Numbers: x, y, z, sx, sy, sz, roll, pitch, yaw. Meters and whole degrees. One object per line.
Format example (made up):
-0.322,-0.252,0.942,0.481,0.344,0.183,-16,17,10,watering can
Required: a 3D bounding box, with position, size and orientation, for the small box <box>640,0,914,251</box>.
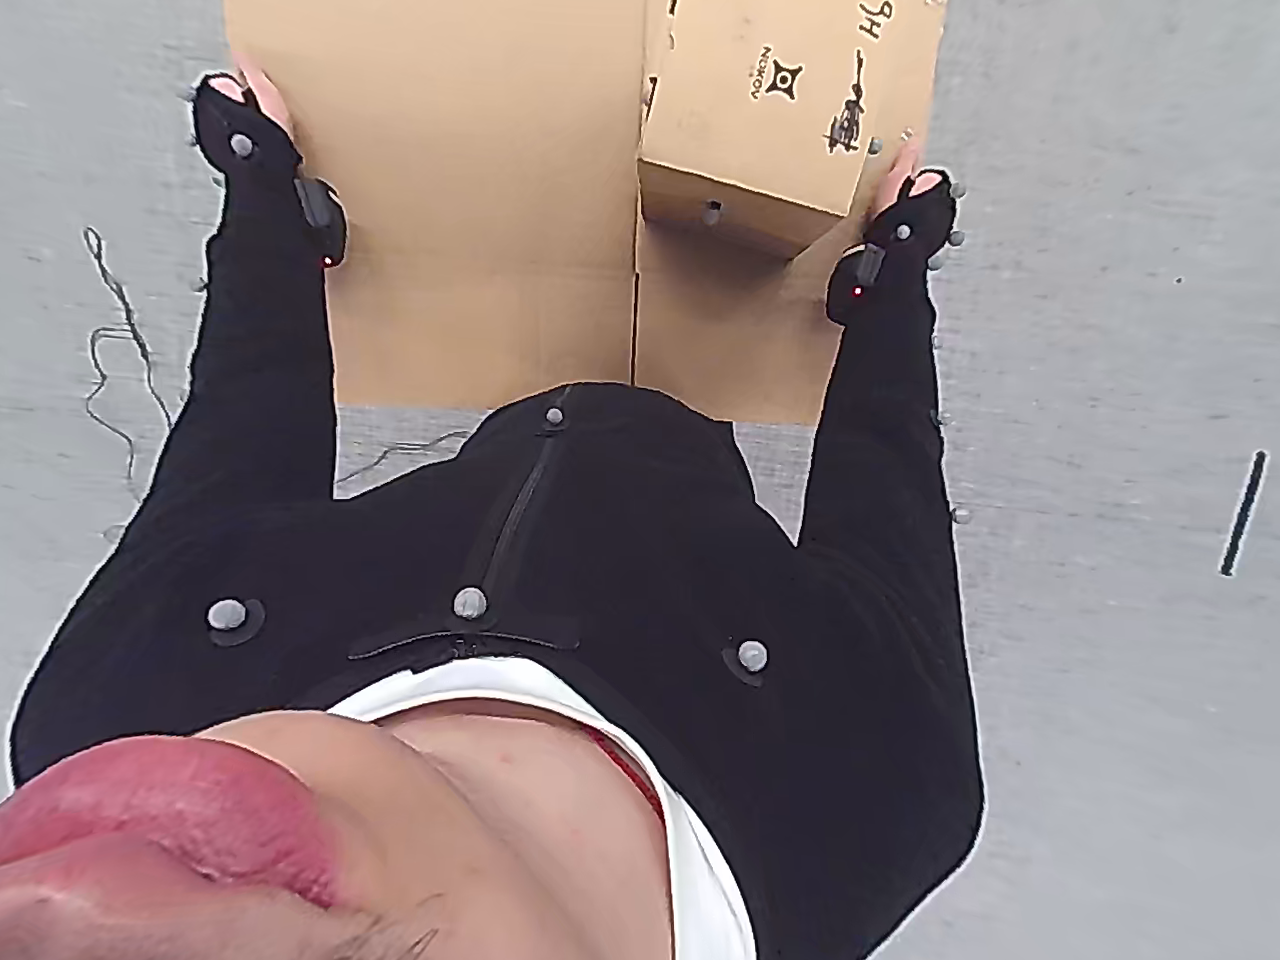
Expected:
0.107,-0.329,0.499,0.179,0.176,0.168,15,102,-1,small box
